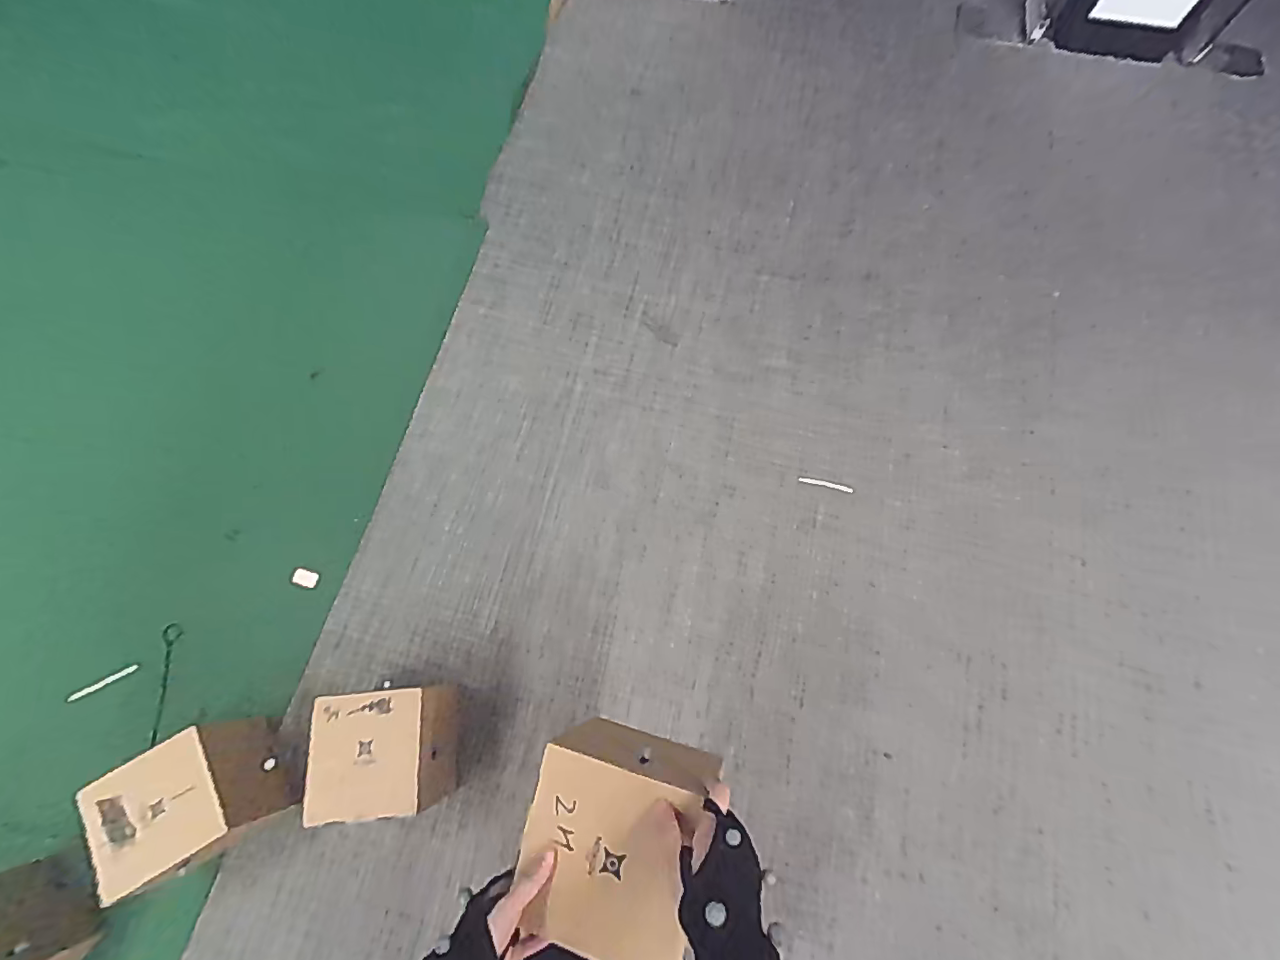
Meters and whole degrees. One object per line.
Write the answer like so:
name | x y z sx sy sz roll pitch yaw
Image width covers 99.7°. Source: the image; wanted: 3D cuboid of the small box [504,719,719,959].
small box | -0.016 0.381 0.599 0.179 0.176 0.168 11 78 16

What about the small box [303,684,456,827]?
small box | -0.405 0.432 0.872 0.168 0.176 0.179 -5 72 -1

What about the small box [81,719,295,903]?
small box | -0.696 0.501 0.849 0.179 0.176 0.168 -30 73 -10
